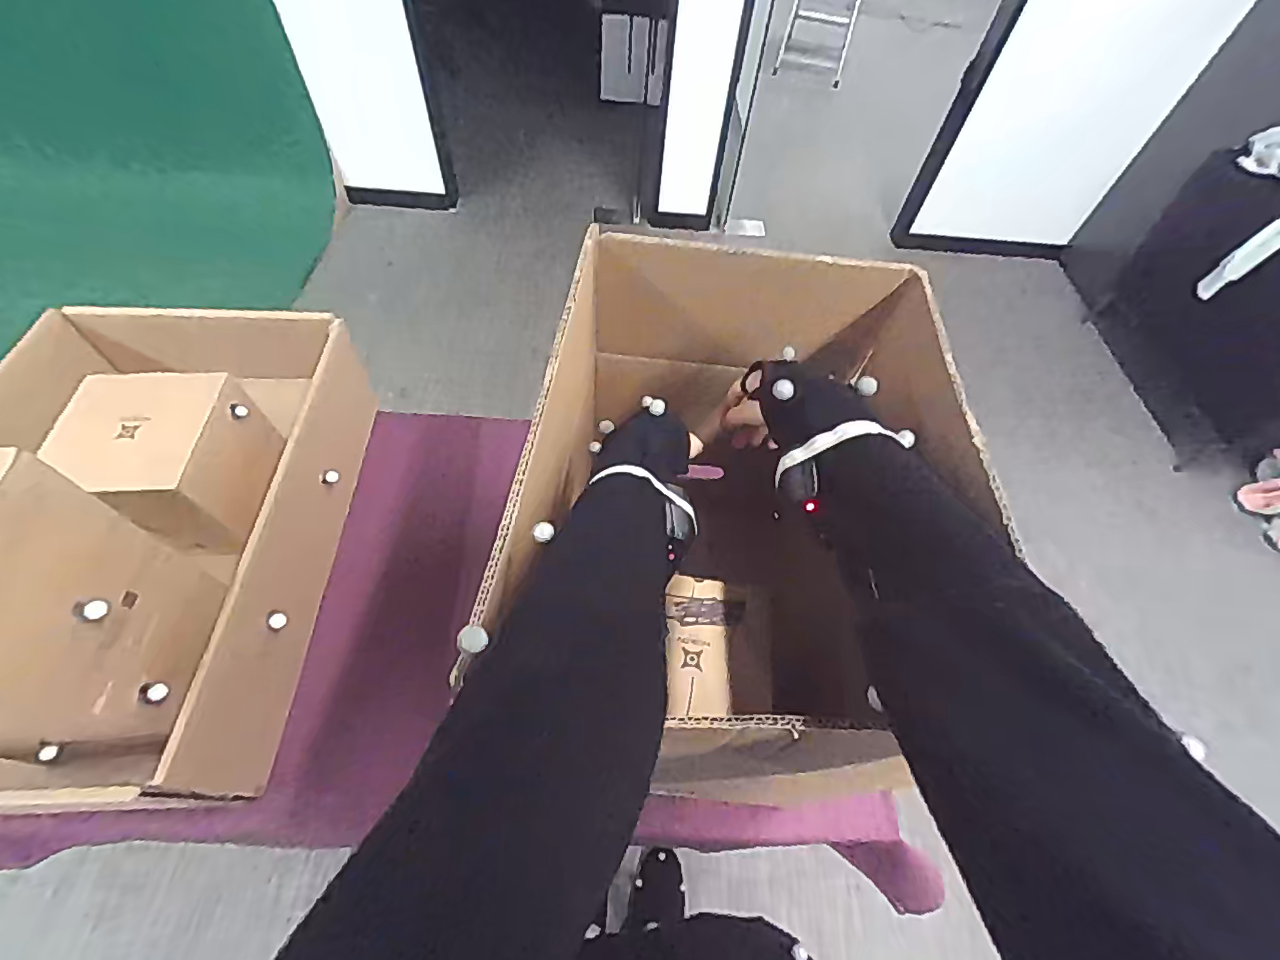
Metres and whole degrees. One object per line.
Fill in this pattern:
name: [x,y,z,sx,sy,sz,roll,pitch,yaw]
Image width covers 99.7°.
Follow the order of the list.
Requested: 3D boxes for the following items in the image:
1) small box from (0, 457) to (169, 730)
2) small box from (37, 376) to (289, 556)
small box: [-0.545,0.096,0.424,0.179,0.176,0.168,0,57,-3]
small box: [-0.590,-0.010,0.693,0.168,0.176,0.179,-2,57,-5]
